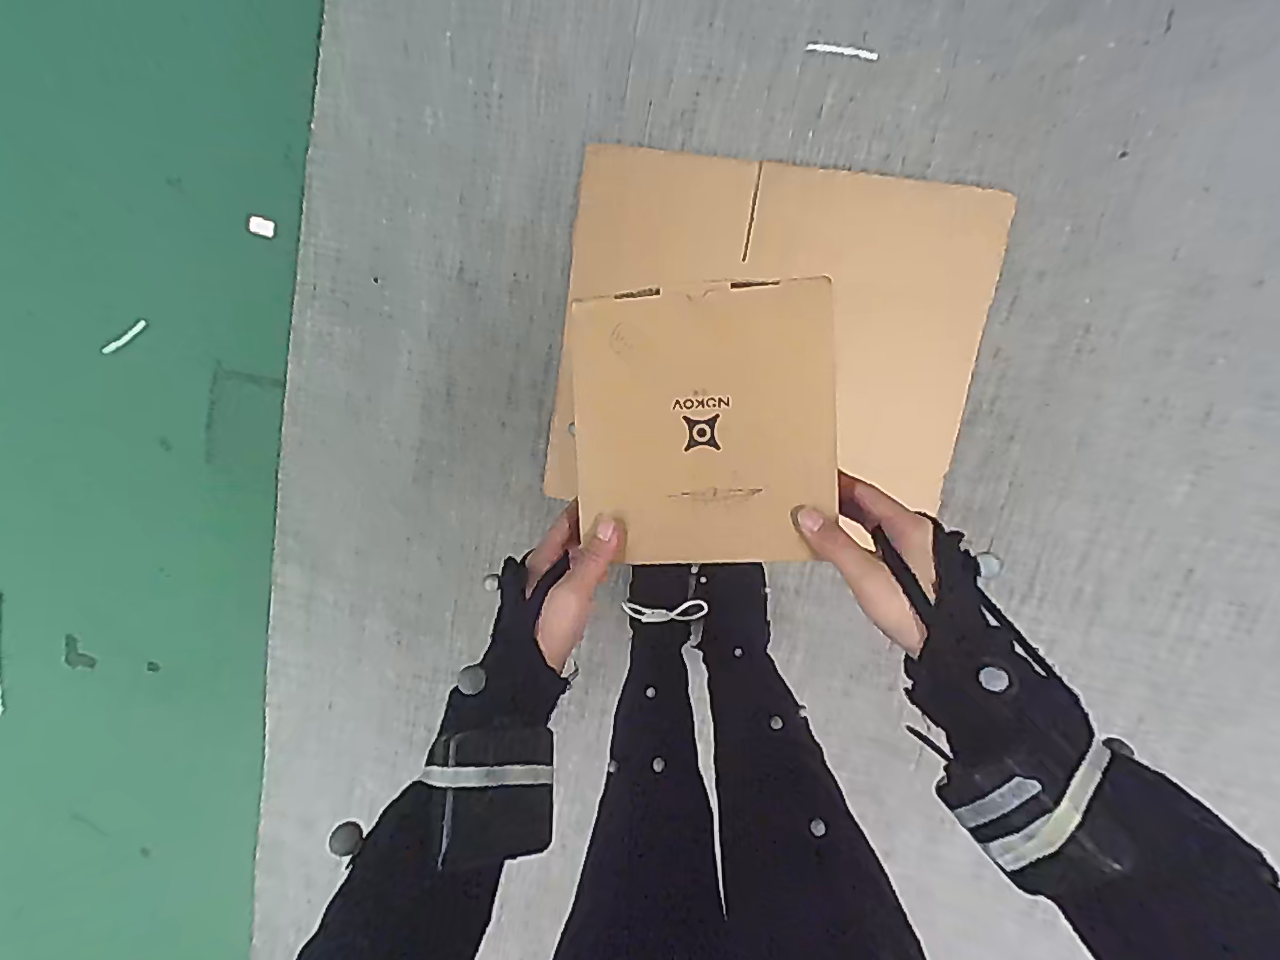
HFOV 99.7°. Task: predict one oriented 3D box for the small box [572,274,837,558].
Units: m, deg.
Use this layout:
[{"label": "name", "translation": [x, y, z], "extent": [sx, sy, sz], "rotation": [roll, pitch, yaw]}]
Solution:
[{"label": "small box", "translation": [0.050, -0.041, 0.422], "extent": [0.168, 0.176, 0.179], "rotation": [-2, 93, 9]}]
